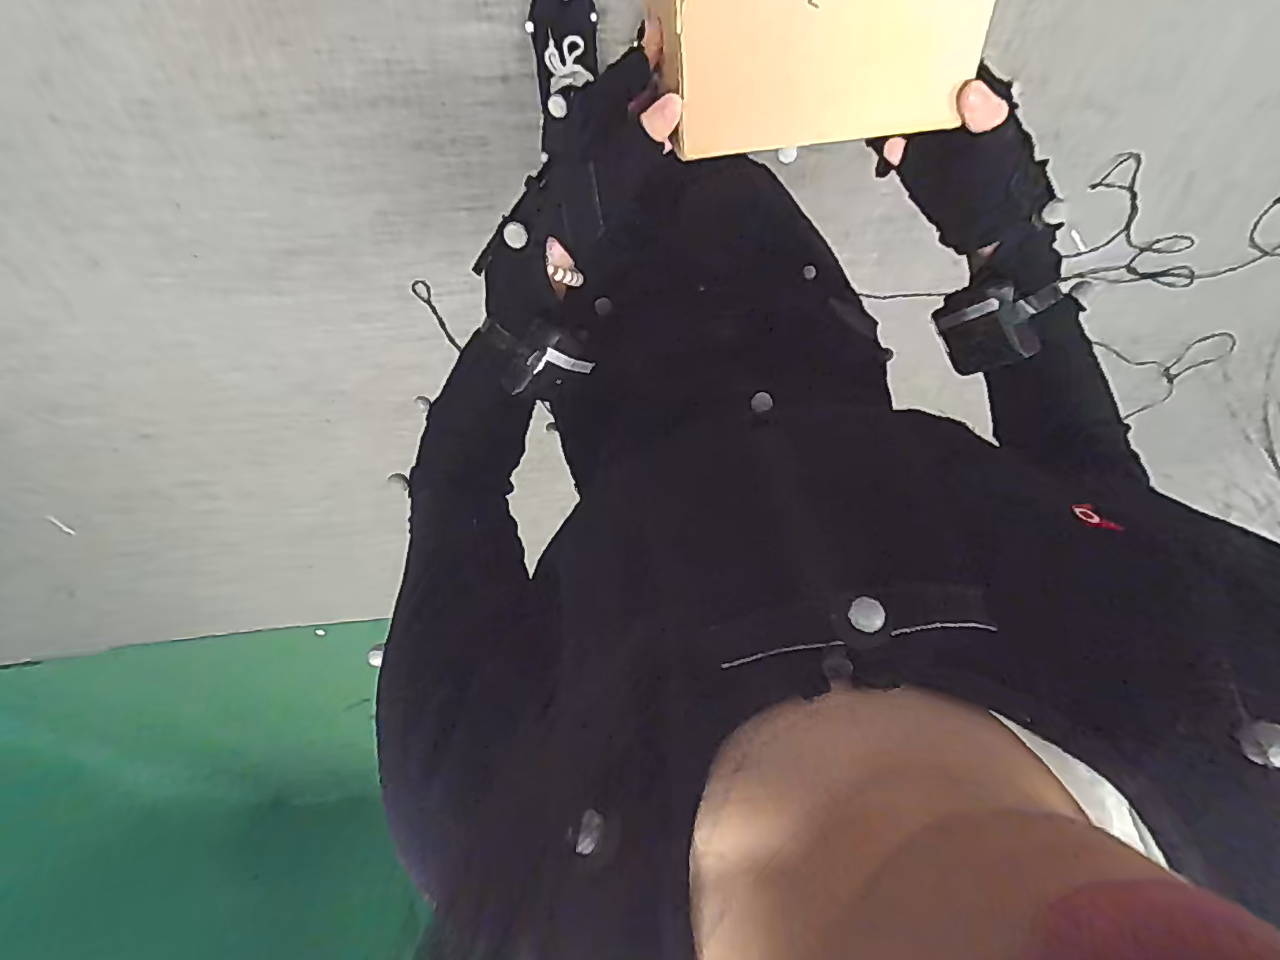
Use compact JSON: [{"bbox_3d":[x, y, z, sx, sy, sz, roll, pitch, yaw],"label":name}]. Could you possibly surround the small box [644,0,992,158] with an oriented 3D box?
[{"bbox_3d":[0.095,-0.318,0.332,0.179,0.176,0.168,-6,133,0],"label":"small box"}]
